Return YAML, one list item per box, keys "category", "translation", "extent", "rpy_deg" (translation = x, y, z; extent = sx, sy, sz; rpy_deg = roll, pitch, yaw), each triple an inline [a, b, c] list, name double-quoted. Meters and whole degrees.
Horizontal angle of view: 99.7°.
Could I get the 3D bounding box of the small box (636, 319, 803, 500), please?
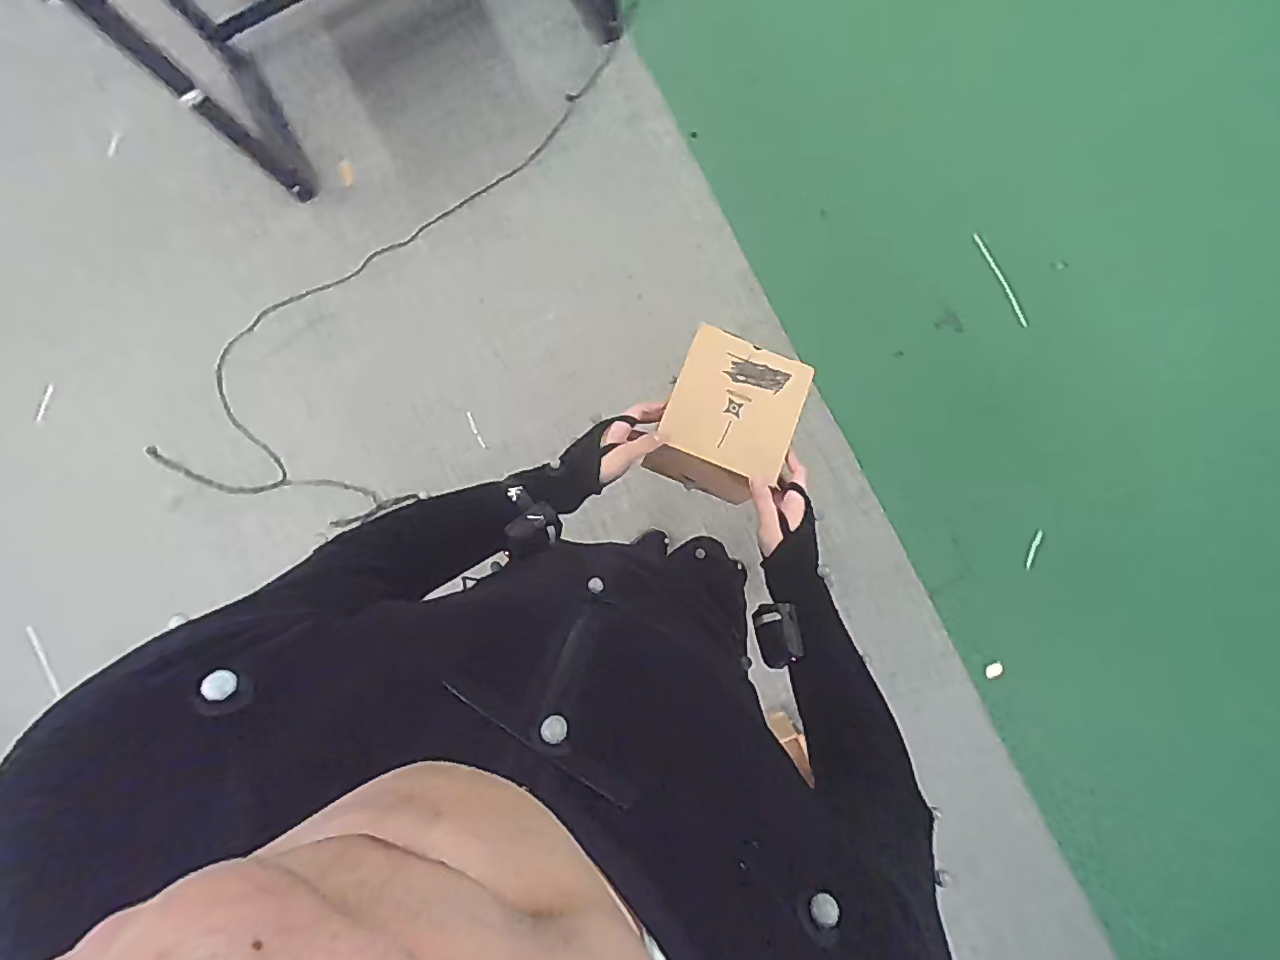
- category: "small box"
  translation: [0.100, -0.088, 0.761]
  extent: [0.168, 0.176, 0.179]
  rpy_deg: [21, 79, -2]
